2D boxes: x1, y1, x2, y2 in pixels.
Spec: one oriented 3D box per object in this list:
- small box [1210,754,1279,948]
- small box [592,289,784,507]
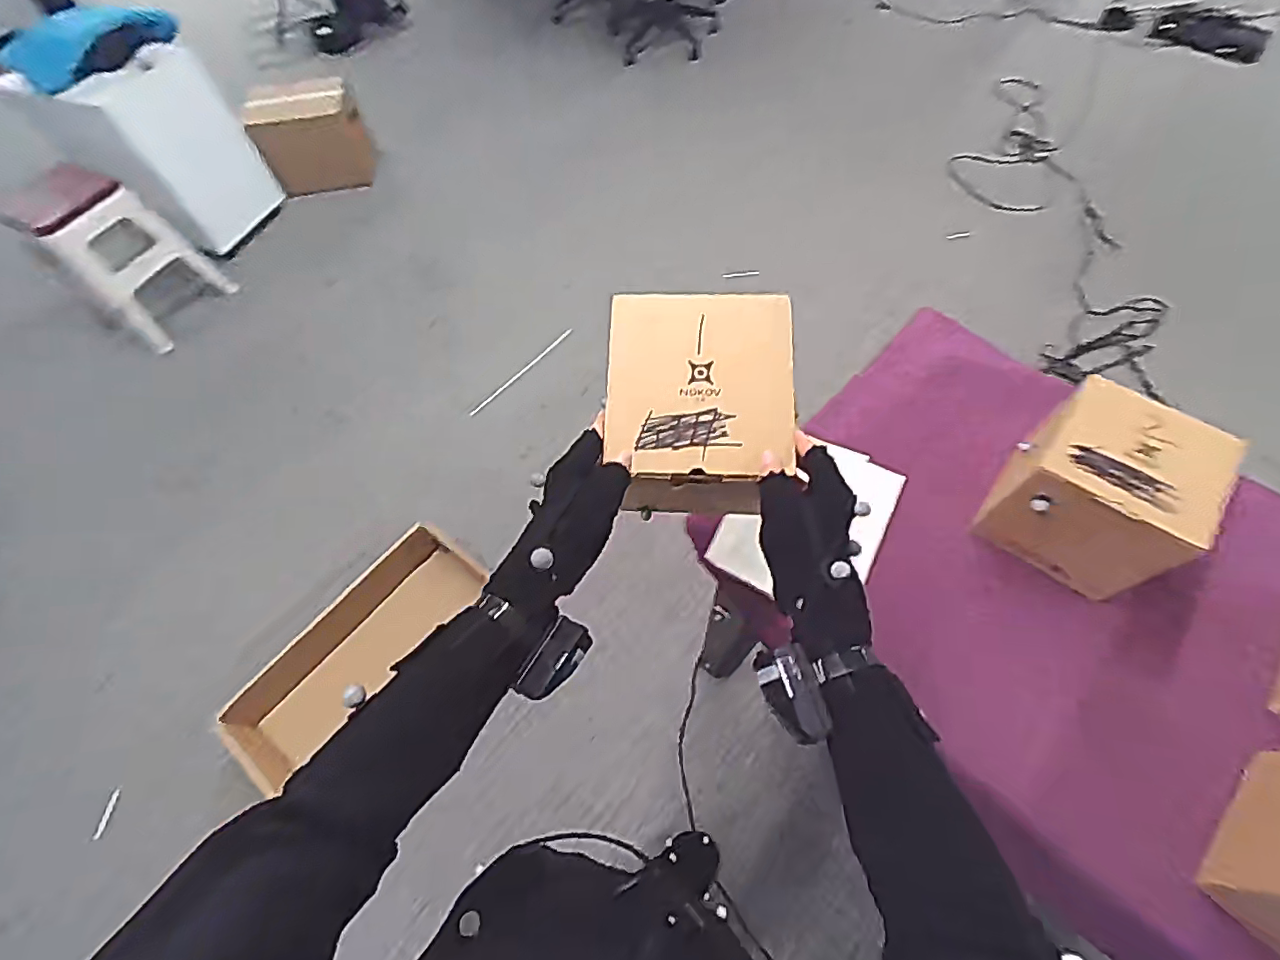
[{"bbox_3d":[0.672,0.357,0.467,0.179,0.176,0.168,-39,65,-18],"label":"small box"},{"bbox_3d":[0.049,-0.071,0.552,0.168,0.176,0.179,1,75,4],"label":"small box"}]
